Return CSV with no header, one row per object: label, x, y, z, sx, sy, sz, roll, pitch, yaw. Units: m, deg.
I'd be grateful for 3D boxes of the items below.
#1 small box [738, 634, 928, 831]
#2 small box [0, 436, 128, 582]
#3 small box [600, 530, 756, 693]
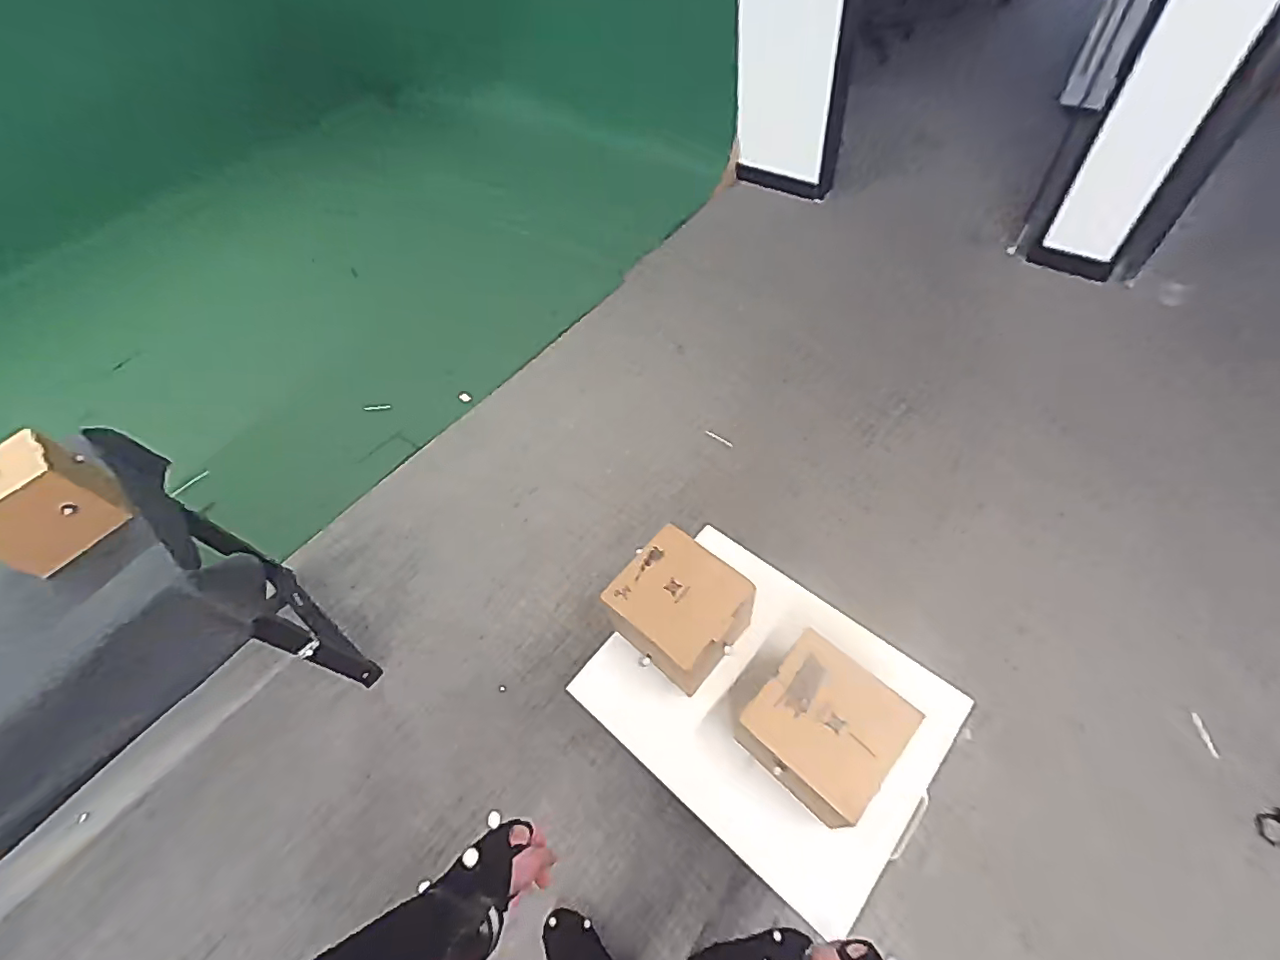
small box,0.251,0.353,0.748,0.179,0.176,0.168,36,69,27
small box,-1.123,0.057,1.014,0.168,0.176,0.179,33,68,28
small box,0.065,0.219,0.869,0.179,0.176,0.168,35,68,25
